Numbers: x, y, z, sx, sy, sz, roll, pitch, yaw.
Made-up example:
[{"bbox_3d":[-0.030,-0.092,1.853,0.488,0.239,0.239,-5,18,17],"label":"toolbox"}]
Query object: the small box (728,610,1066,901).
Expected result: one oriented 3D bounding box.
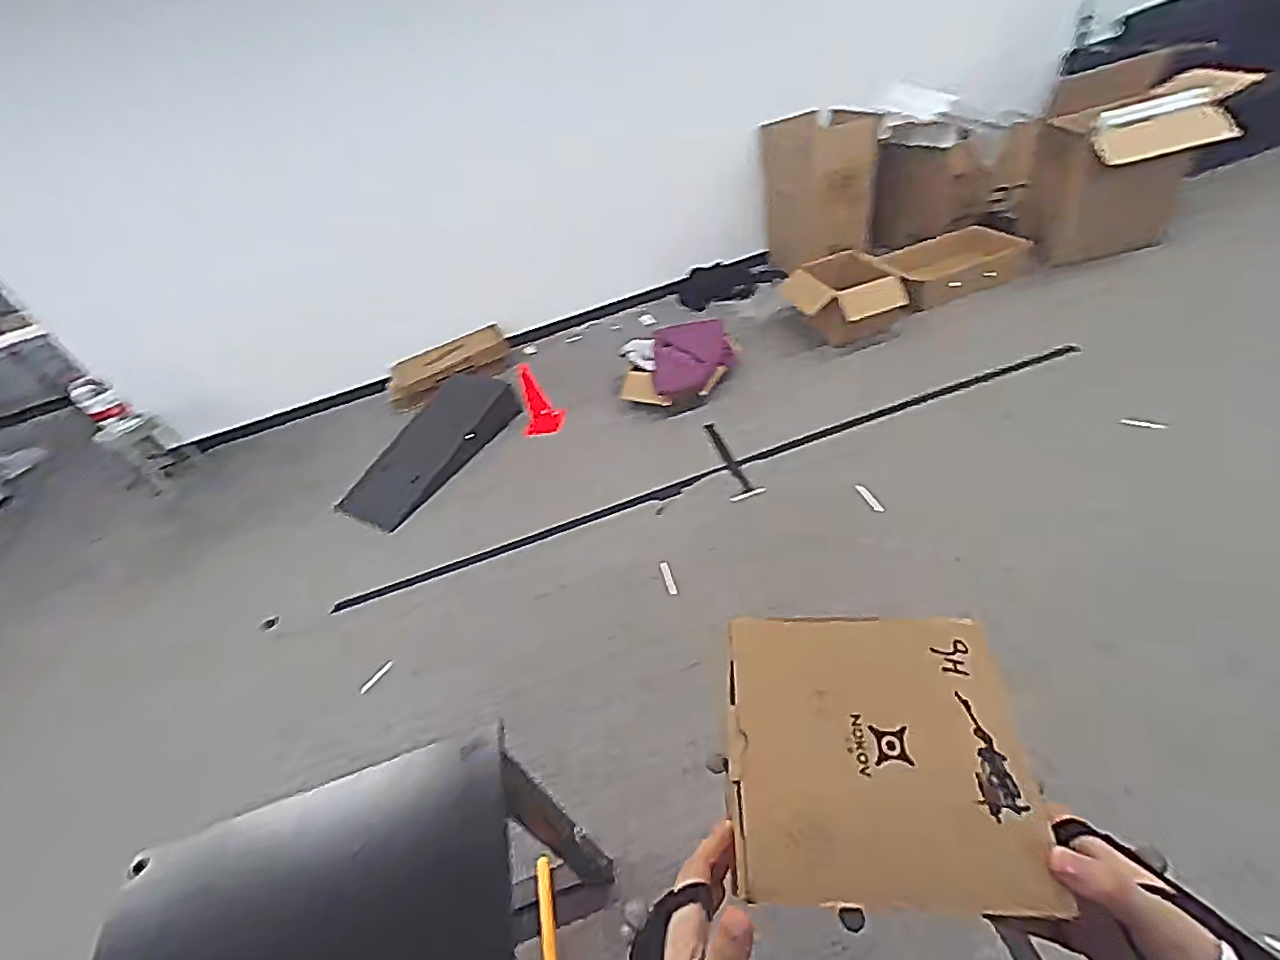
[{"bbox_3d":[0.157,0.209,0.409,0.179,0.176,0.168,-1,54,6],"label":"small box"}]
